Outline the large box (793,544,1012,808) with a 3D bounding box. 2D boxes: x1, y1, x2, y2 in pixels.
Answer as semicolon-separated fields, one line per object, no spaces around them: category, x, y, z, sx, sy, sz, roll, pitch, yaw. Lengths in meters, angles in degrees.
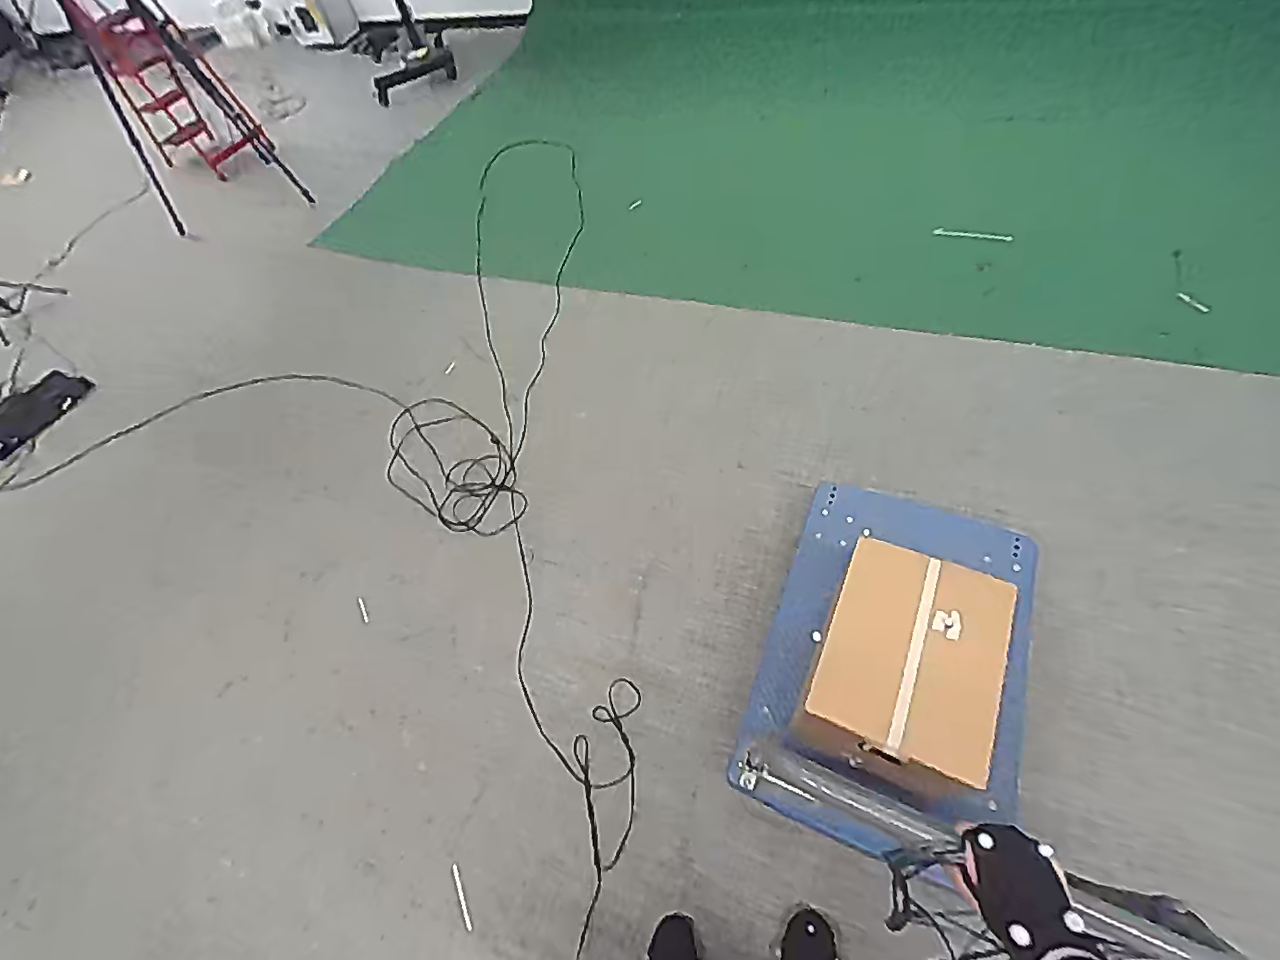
large box;0.547;0.419;1.165;0.320;0.320;0.408;19;61;19
